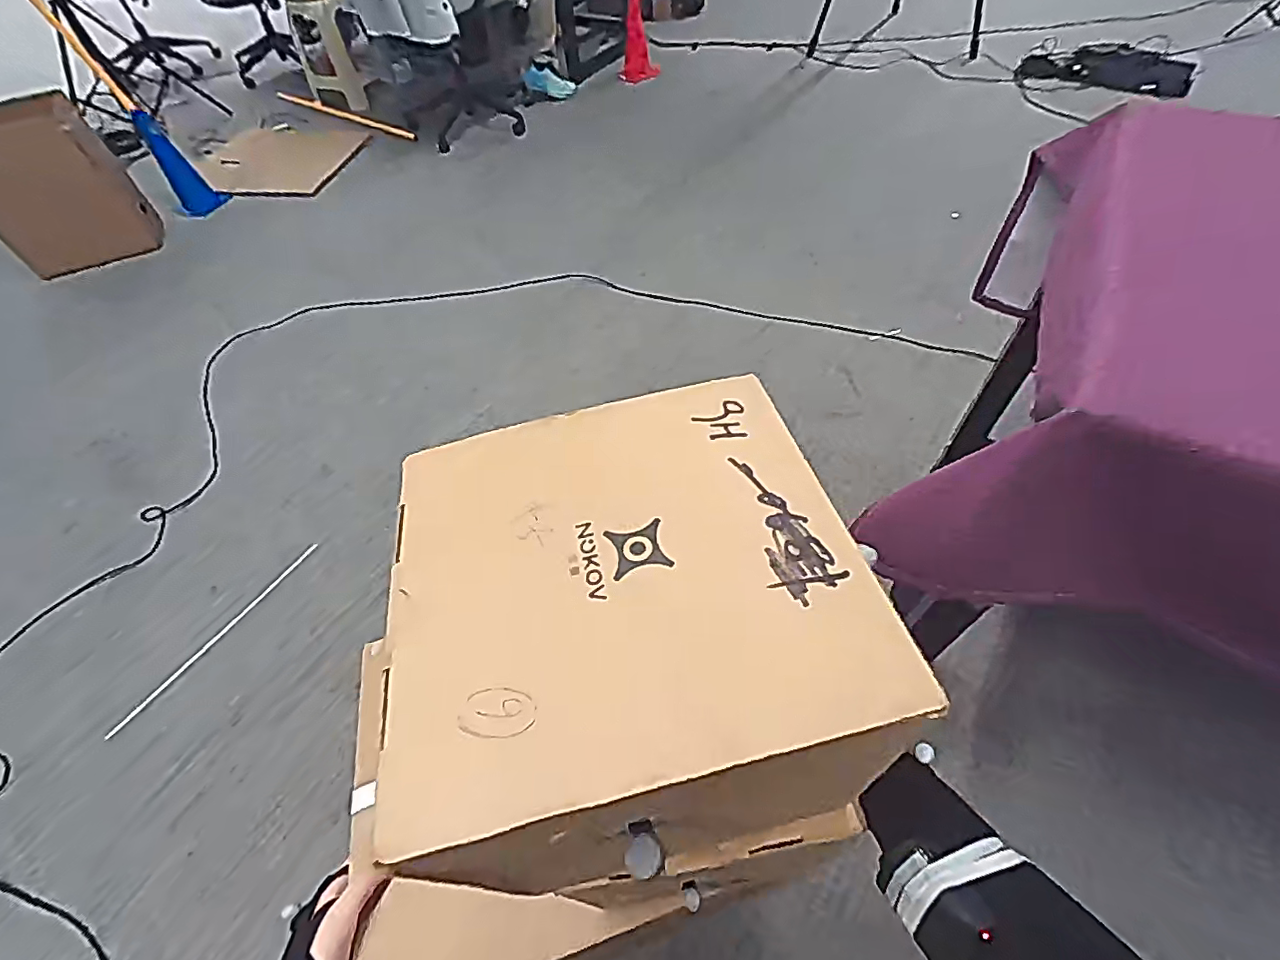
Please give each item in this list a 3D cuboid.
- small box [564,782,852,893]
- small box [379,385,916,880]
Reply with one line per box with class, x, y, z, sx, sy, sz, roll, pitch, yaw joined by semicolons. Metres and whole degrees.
small box;0.030;0.185;0.403;0.168;0.176;0.179;-11;51;-1
small box;-0.001;0.084;0.276;0.179;0.176;0.168;-15;52;-3
